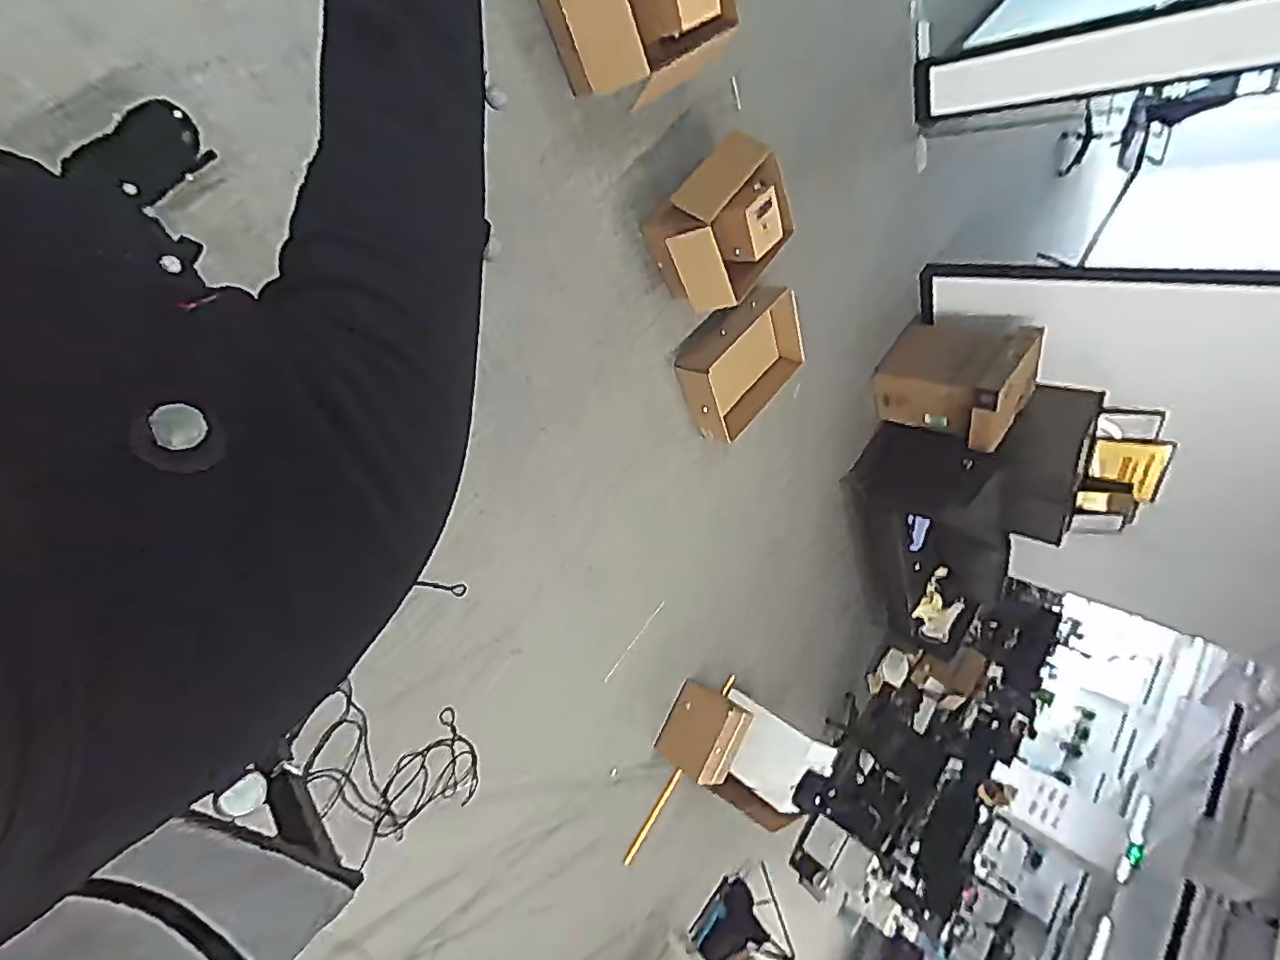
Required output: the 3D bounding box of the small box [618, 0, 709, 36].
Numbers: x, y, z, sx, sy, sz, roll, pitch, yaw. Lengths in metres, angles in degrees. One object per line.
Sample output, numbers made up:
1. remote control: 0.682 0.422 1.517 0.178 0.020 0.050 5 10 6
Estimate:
1. small box: 0.048 -1.276 1.386 0.168 0.176 0.179 -47 135 -24
